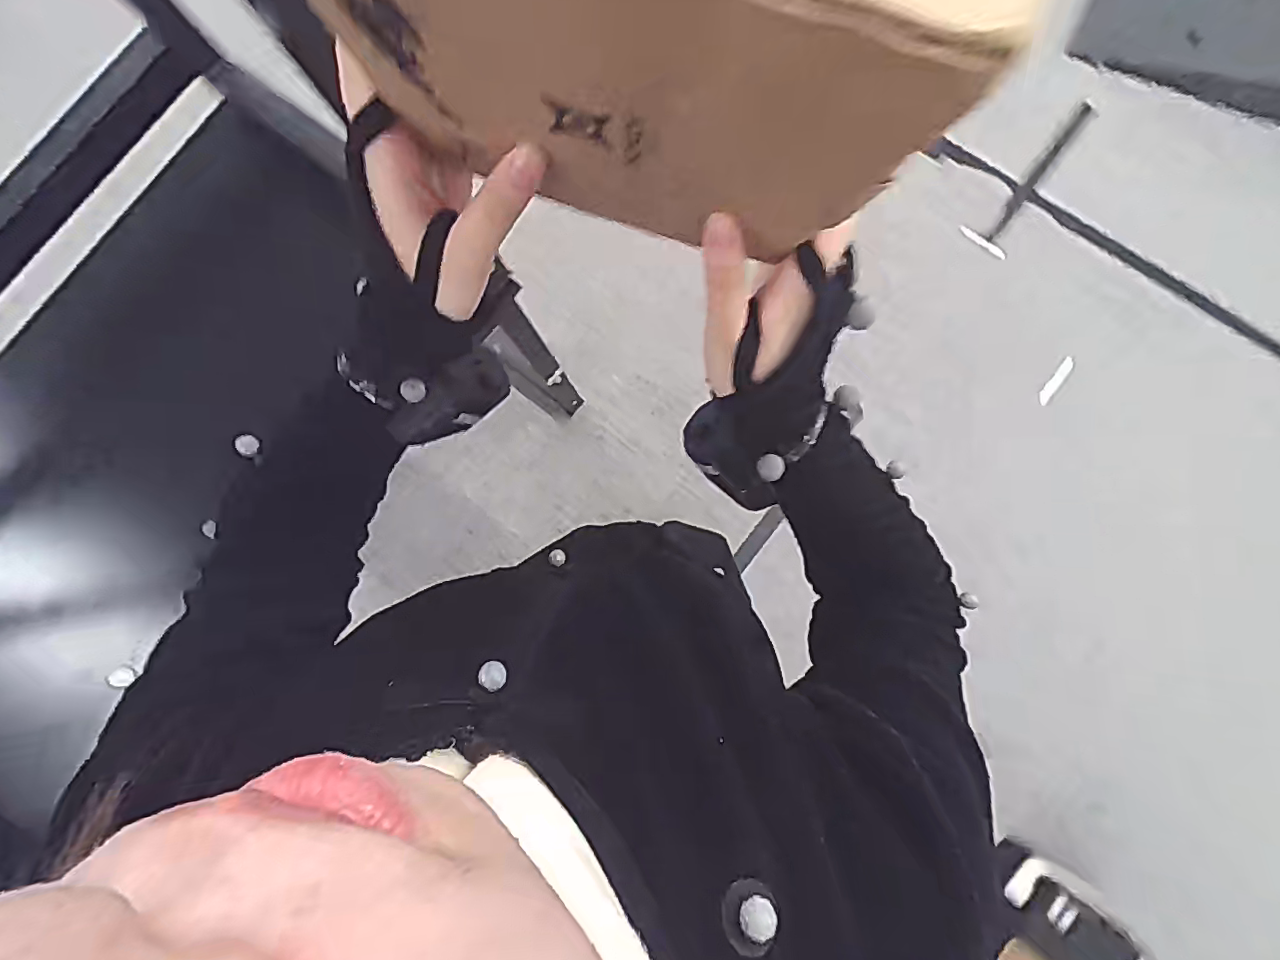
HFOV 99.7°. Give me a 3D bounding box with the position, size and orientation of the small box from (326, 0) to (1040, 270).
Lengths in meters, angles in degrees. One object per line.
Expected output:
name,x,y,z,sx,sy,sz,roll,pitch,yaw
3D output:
small box,0.015,-0.193,0.172,0.179,0.168,0.176,15,95,-5
